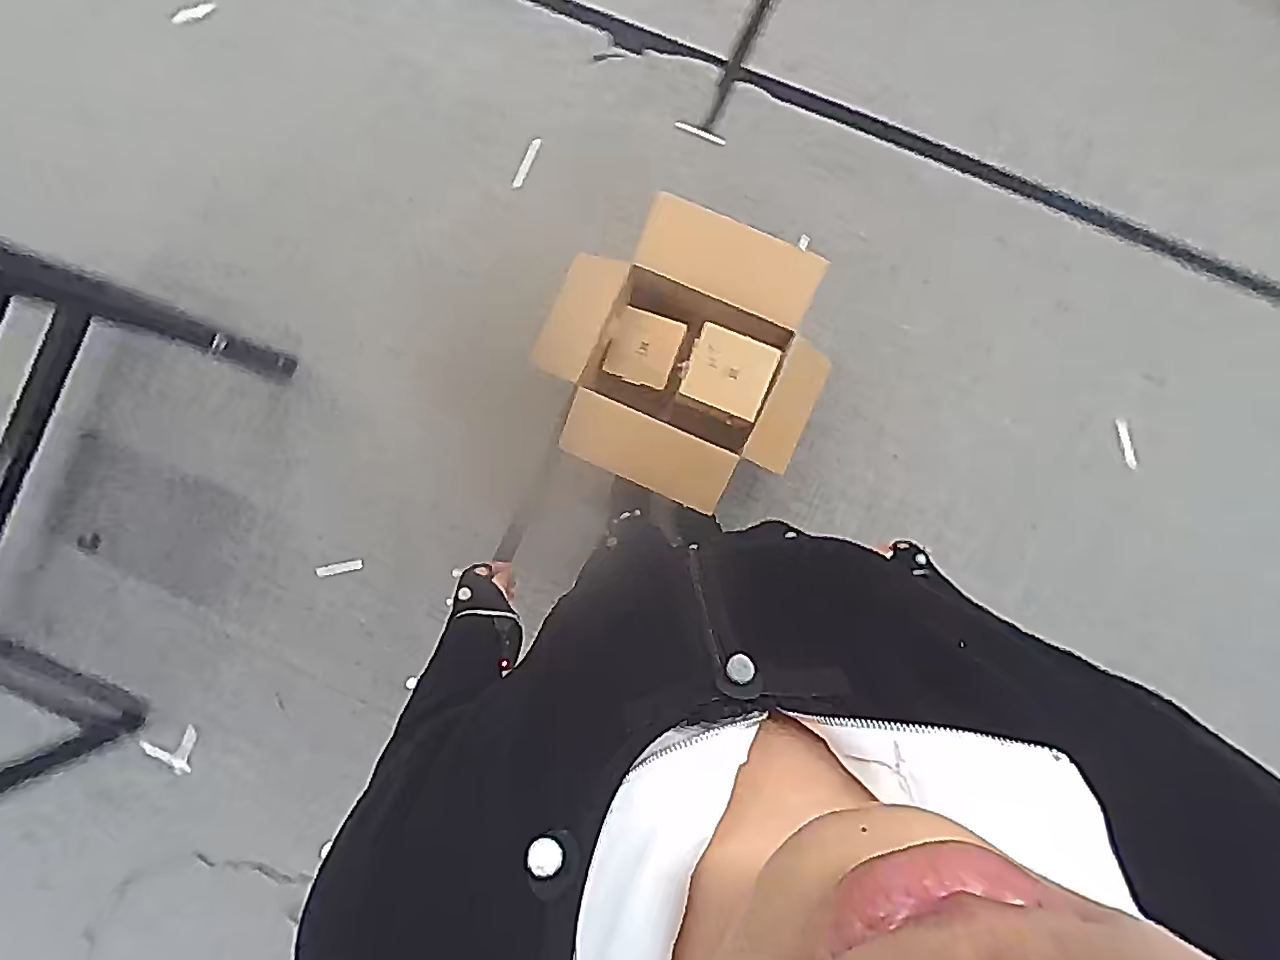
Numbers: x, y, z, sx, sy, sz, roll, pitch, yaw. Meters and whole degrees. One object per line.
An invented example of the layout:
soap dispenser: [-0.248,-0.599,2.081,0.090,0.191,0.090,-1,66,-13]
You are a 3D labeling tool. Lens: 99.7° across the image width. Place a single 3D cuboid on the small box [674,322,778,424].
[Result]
small box: [0.189,-0.236,1.240,0.179,0.176,0.168,22,91,1]
